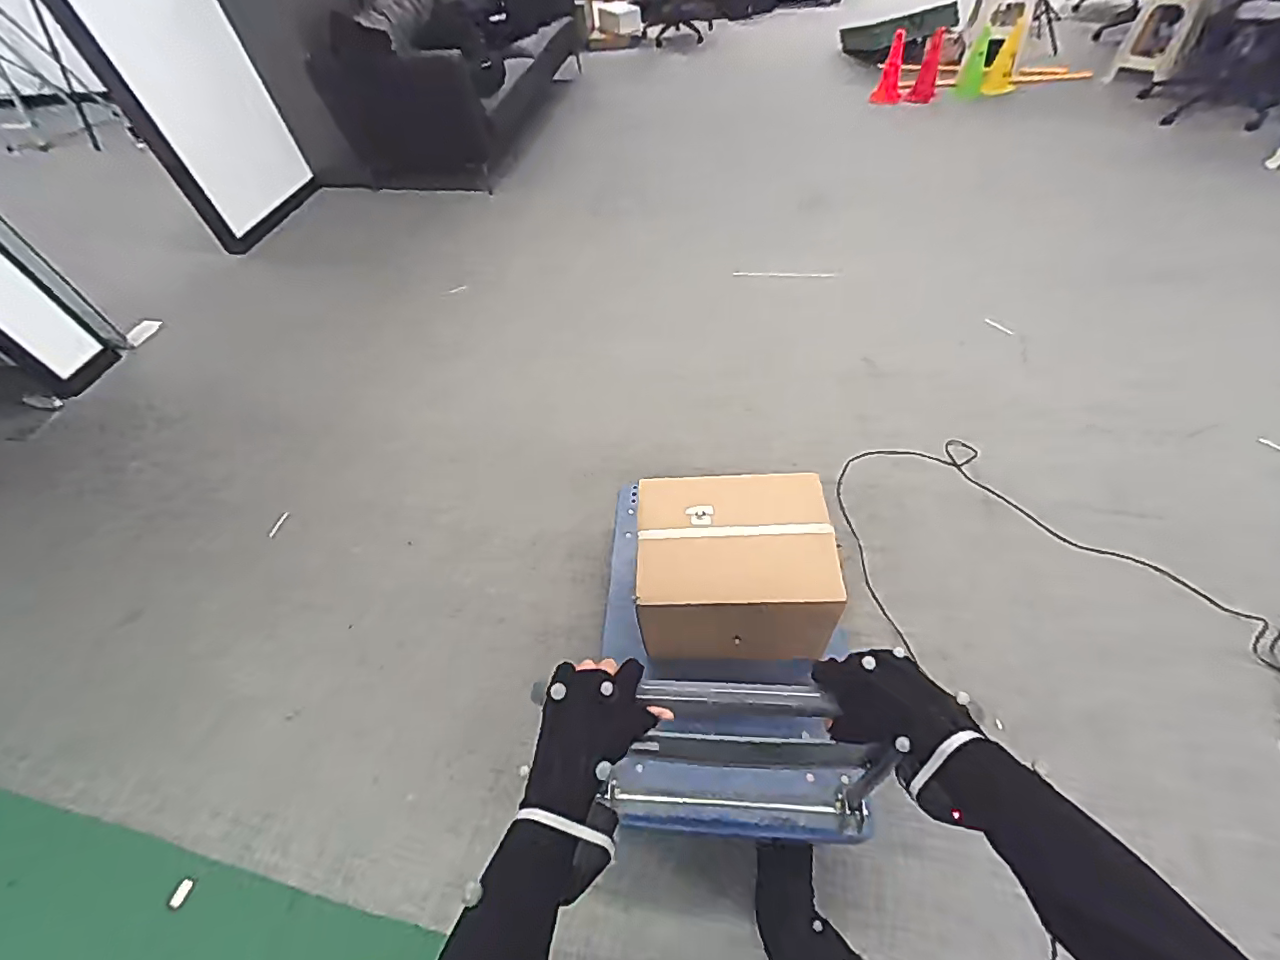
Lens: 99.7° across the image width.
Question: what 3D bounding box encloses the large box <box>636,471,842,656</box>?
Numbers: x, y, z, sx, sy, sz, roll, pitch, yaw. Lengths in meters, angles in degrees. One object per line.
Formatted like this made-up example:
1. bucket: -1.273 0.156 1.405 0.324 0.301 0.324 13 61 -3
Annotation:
1. large box: 0.206 0.203 1.251 0.408 0.320 0.320 -3 52 5
